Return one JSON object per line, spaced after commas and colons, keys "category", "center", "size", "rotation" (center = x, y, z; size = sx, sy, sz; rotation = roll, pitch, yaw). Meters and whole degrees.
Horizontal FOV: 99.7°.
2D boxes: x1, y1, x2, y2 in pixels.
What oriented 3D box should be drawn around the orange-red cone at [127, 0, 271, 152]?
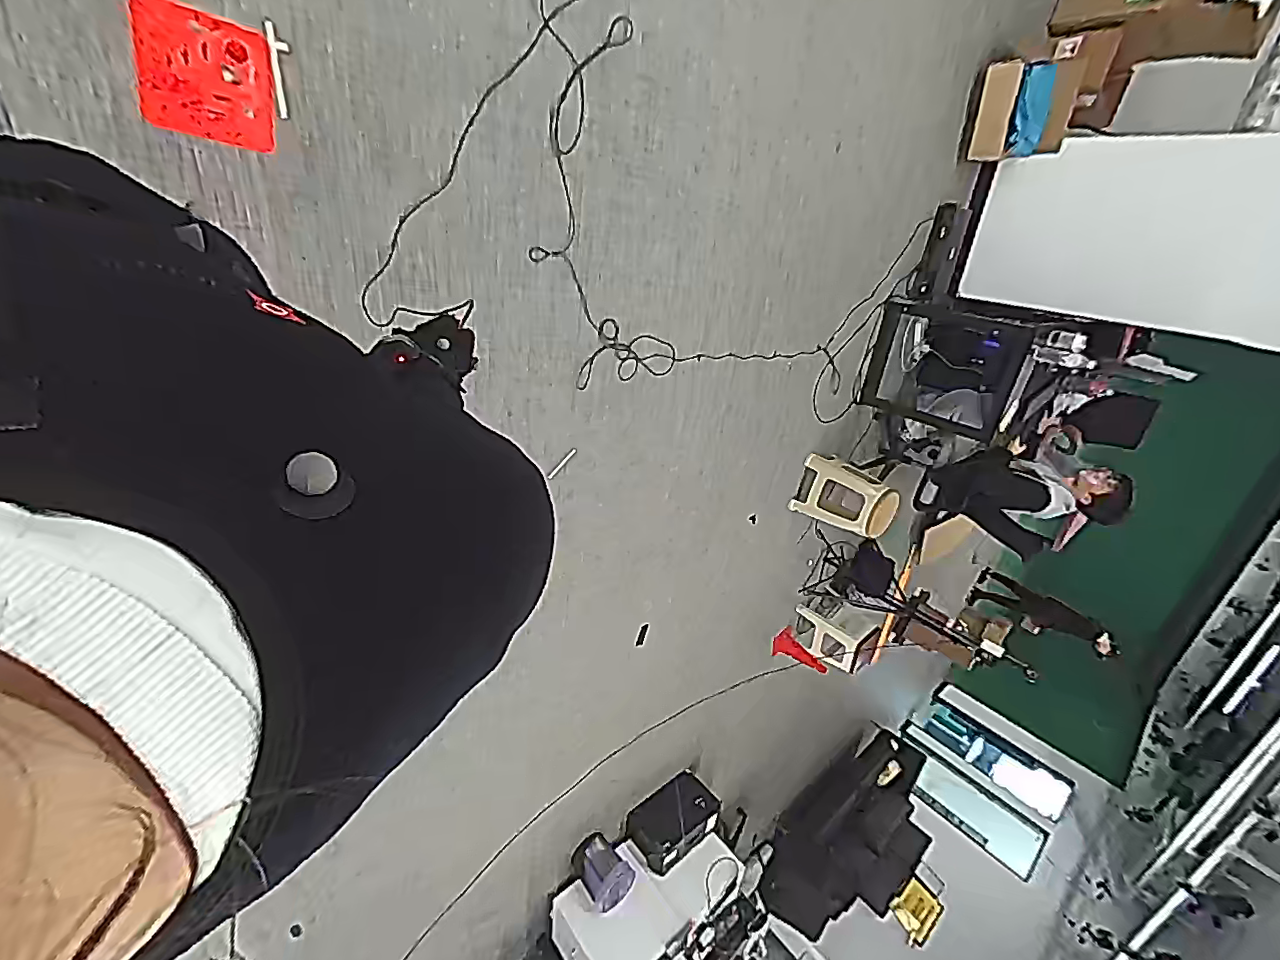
{"category": "orange-red cone", "center": [-0.675, -0.660, 0.858], "size": [0.199, 0.360, 0.198], "rotation": [-5, 116, -41]}
